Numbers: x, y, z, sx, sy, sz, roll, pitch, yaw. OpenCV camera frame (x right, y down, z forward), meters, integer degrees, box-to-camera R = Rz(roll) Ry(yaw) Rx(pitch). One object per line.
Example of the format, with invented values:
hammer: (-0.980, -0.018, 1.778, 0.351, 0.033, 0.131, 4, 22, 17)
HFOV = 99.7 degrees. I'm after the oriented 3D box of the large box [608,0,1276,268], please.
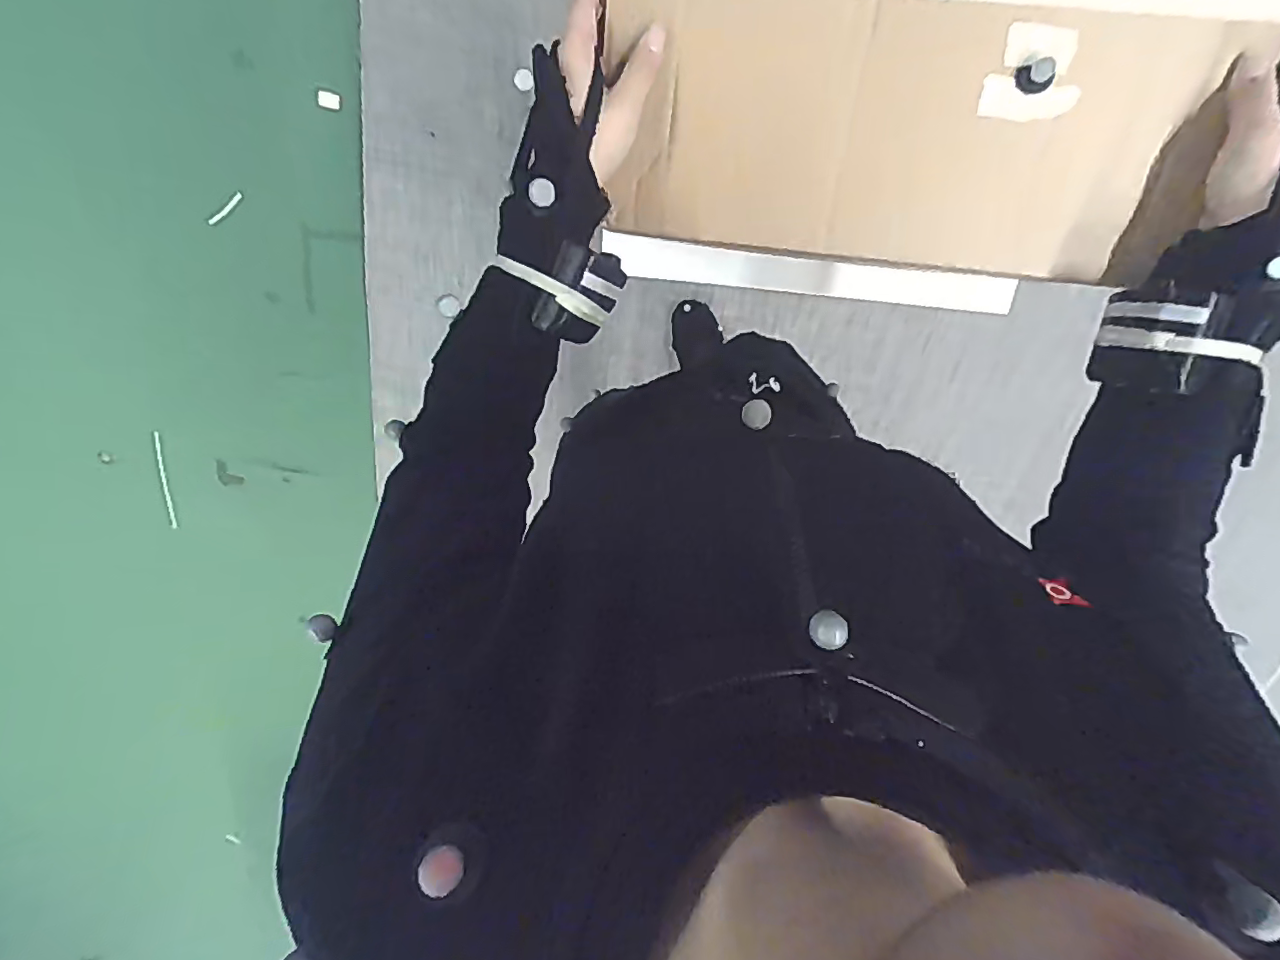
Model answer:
large box: (0.194, -0.367, 0.468, 0.408, 0.320, 0.320, 7, 114, 2)
